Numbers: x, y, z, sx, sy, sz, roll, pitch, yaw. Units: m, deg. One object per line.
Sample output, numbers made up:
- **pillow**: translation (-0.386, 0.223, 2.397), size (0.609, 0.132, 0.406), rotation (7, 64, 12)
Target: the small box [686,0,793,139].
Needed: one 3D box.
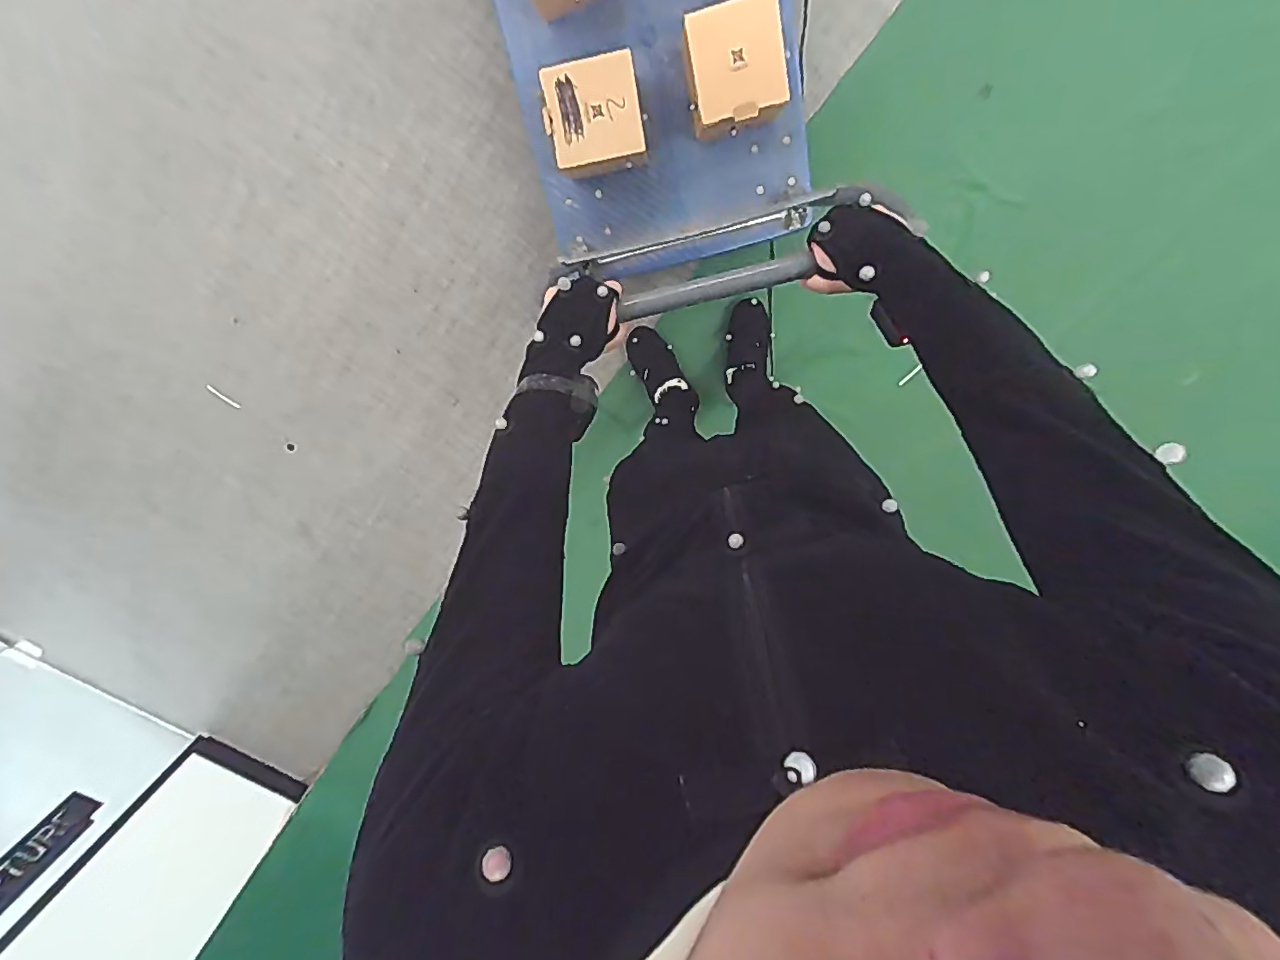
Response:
- **small box**: translation (0.185, -0.789, 1.042), size (0.168, 0.176, 0.179), rotation (-11, 113, 7)

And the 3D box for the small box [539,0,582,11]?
- **small box**: translation (-0.138, -0.990, 0.969), size (0.168, 0.176, 0.179), rotation (-17, 111, 9)
